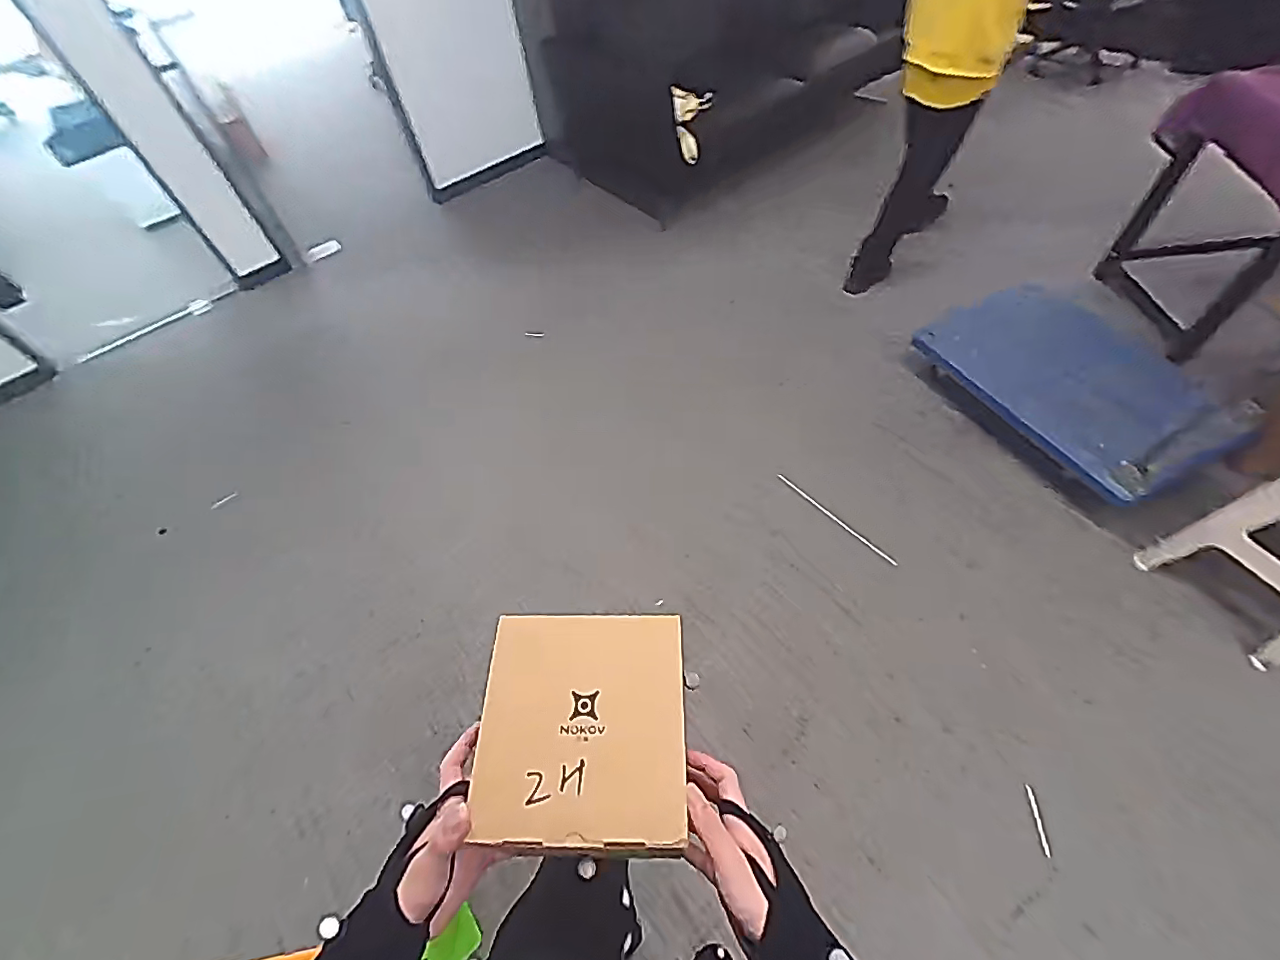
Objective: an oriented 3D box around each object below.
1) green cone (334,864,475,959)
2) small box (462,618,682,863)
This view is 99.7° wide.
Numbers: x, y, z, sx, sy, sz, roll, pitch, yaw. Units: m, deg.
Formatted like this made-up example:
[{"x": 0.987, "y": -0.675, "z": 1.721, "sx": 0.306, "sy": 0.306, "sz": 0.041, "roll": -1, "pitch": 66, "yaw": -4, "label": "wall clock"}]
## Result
[{"x": -0.526, "y": 0.958, "z": 1.123, "sx": 0.200, "sy": 0.368, "sz": 0.202, "roll": -36, "pitch": 60, "yaw": -17, "label": "green cone"}, {"x": -0.047, "y": 0.246, "z": 0.509, "sx": 0.168, "sy": 0.176, "sz": 0.179, "roll": 0, "pitch": 53, "yaw": 2, "label": "small box"}]
